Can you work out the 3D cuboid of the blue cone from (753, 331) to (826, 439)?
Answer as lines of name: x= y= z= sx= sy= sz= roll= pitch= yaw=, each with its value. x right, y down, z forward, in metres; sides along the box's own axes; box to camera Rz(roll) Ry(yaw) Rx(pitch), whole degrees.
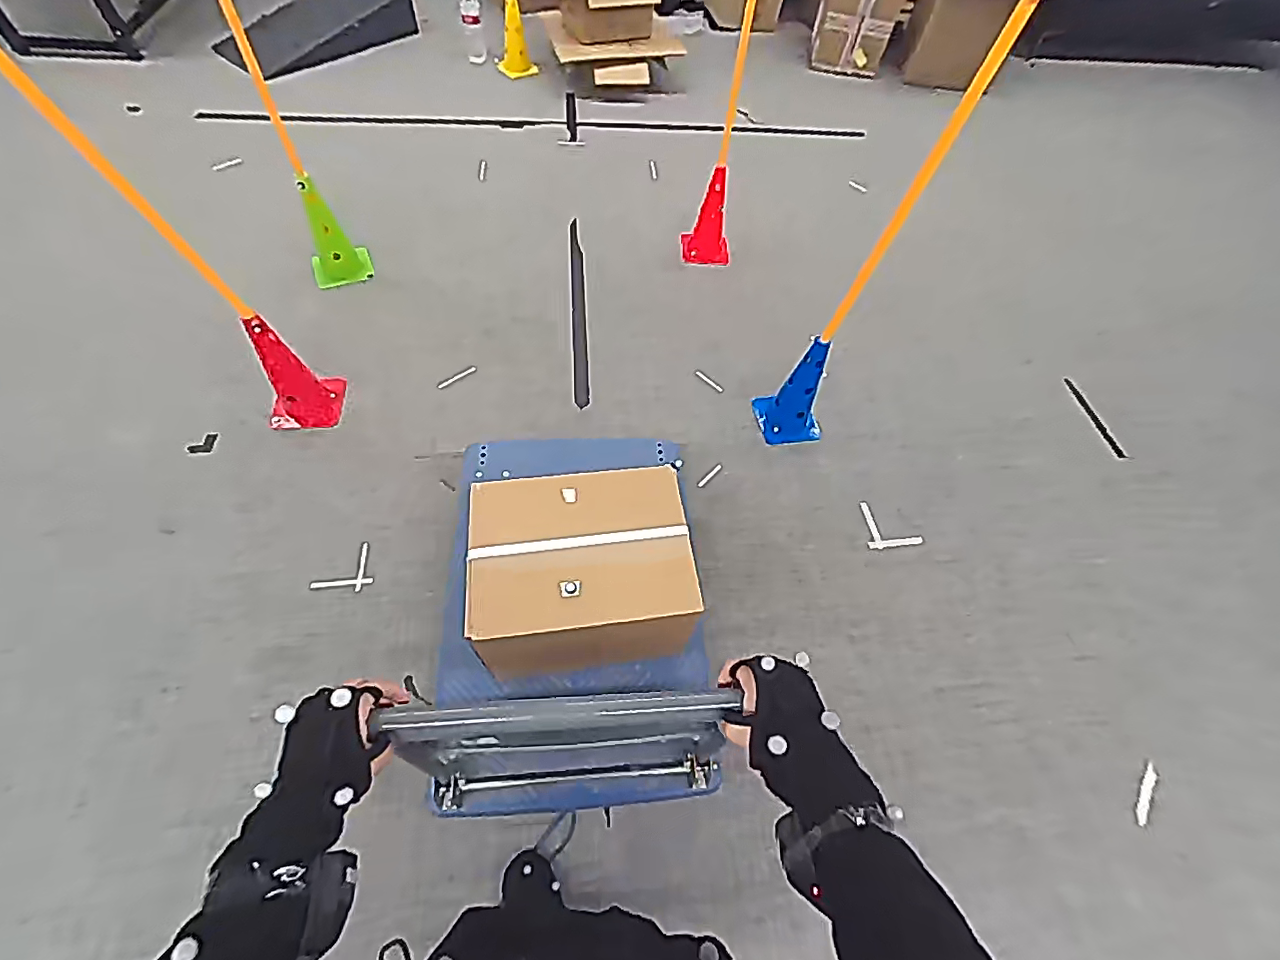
blue cone: x=0.504 y=-0.305 z=1.694 sx=0.193 sy=0.380 sz=0.192 roll=-6 pitch=57 yaw=-9

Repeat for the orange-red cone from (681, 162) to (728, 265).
orange-red cone: x=0.288 y=-1.070 z=2.139 sx=0.199 sy=0.360 sz=0.198 roll=4 pitch=58 yaw=-4
